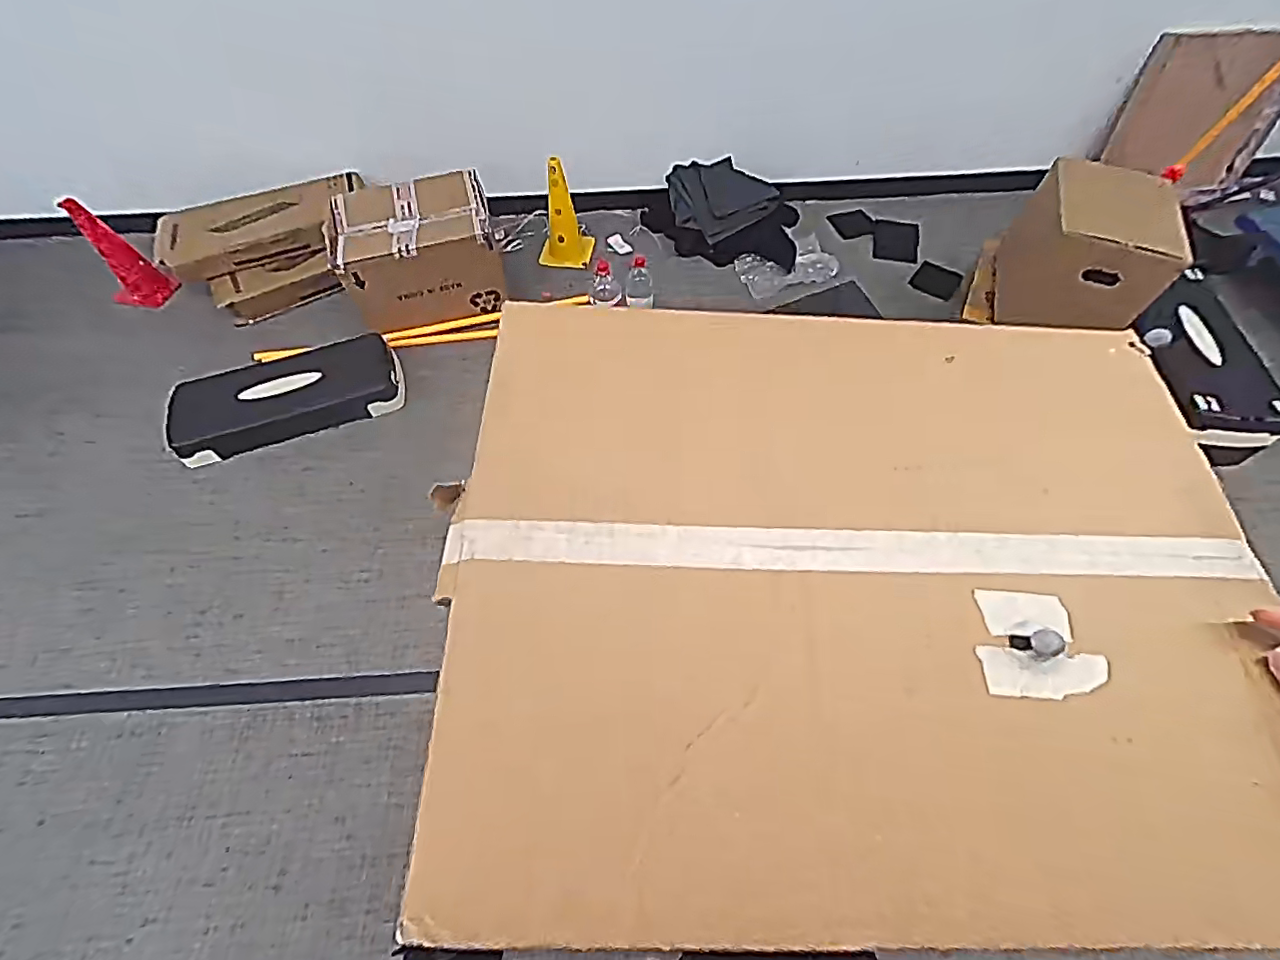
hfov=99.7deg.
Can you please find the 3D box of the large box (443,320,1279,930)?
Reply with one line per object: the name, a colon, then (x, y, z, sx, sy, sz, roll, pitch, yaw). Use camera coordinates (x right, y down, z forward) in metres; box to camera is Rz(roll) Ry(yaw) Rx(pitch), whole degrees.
large box: (0.108, 0.107, 0.418, 0.408, 0.320, 0.320, 3, 64, -3)
